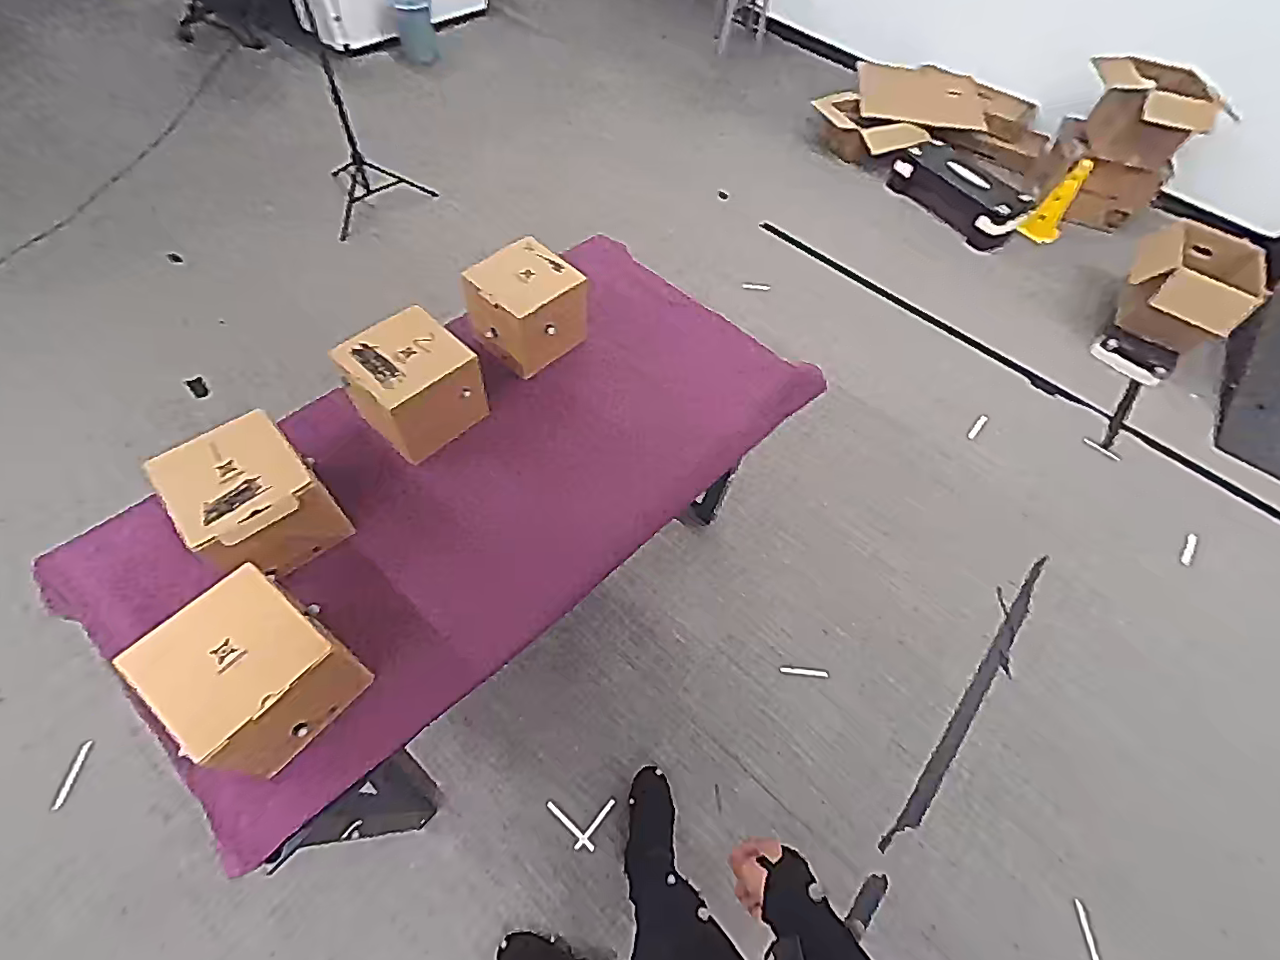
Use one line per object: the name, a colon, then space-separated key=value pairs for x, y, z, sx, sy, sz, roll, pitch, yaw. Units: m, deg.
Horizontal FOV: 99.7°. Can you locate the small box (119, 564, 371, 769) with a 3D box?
small box: x=-0.491 y=0.248 z=0.701 sx=0.179 sy=0.176 sz=0.168 roll=36 pitch=60 yaw=14

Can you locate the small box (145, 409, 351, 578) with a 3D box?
small box: x=-0.578 y=0.033 z=0.823 sx=0.168 sy=0.176 sz=0.179 roll=-36 pitch=69 yaw=-24
